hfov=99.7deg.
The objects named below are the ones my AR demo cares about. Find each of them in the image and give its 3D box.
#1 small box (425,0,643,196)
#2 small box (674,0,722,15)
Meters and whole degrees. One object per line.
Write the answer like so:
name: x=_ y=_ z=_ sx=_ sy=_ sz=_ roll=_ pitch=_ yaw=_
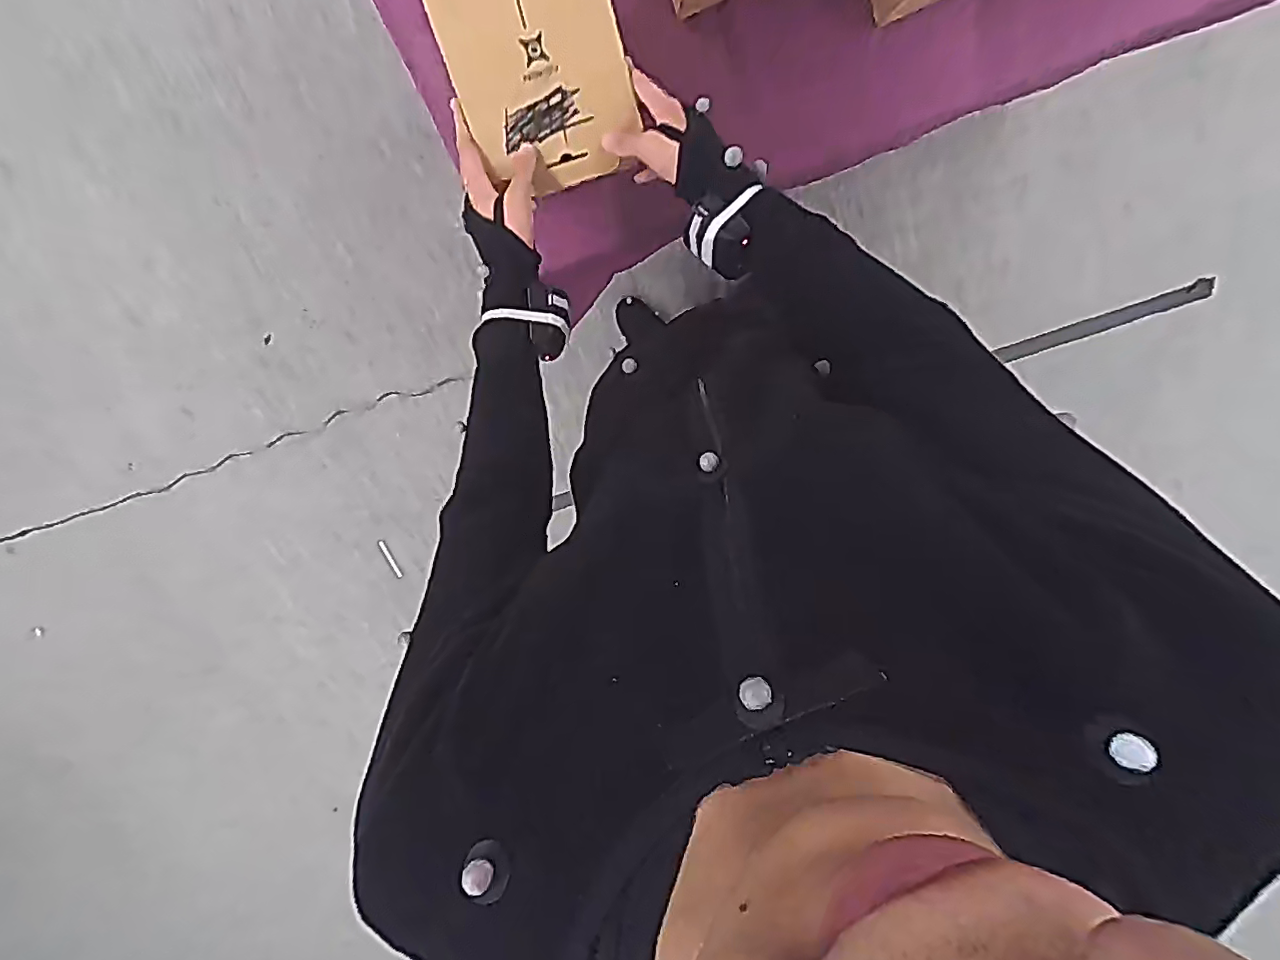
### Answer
small box: x=-0.104 y=-0.421 z=0.577 sx=0.168 sy=0.176 sz=0.179 roll=-18 pitch=110 yaw=-1
small box: x=0.093 y=-0.639 z=0.552 sx=0.168 sy=0.176 sz=0.179 roll=-20 pitch=111 yaw=6
